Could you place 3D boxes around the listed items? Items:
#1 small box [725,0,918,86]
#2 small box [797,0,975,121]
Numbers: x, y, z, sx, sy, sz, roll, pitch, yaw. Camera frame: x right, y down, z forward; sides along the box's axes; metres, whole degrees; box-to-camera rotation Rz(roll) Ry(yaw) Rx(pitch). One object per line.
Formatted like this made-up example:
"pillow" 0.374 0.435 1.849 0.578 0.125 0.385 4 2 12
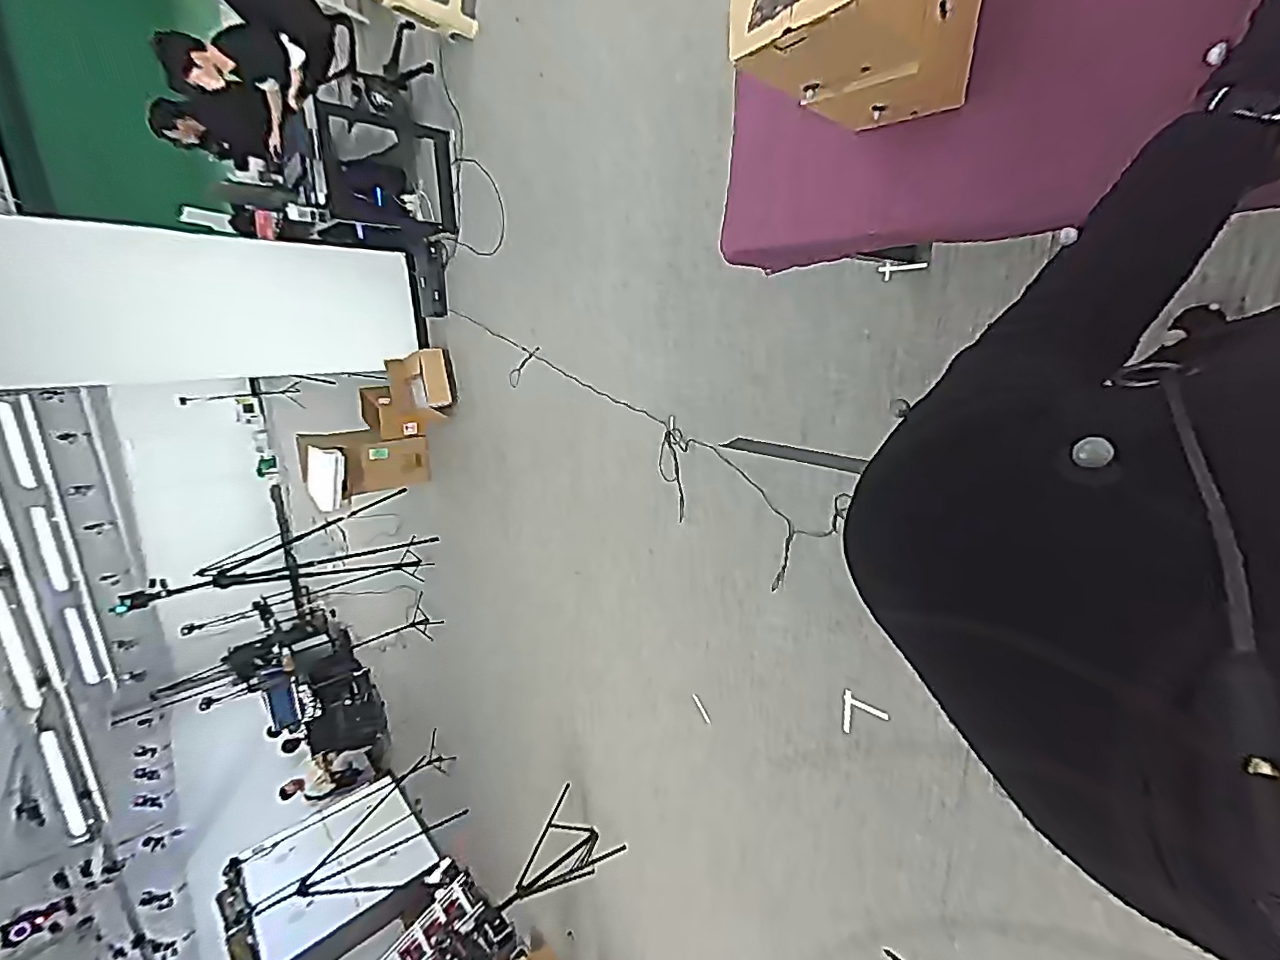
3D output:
"small box" 0.217 -0.600 0.638 0.168 0.176 0.179 14 111 45
"small box" 0.340 -0.620 0.745 0.168 0.176 0.179 19 115 43
